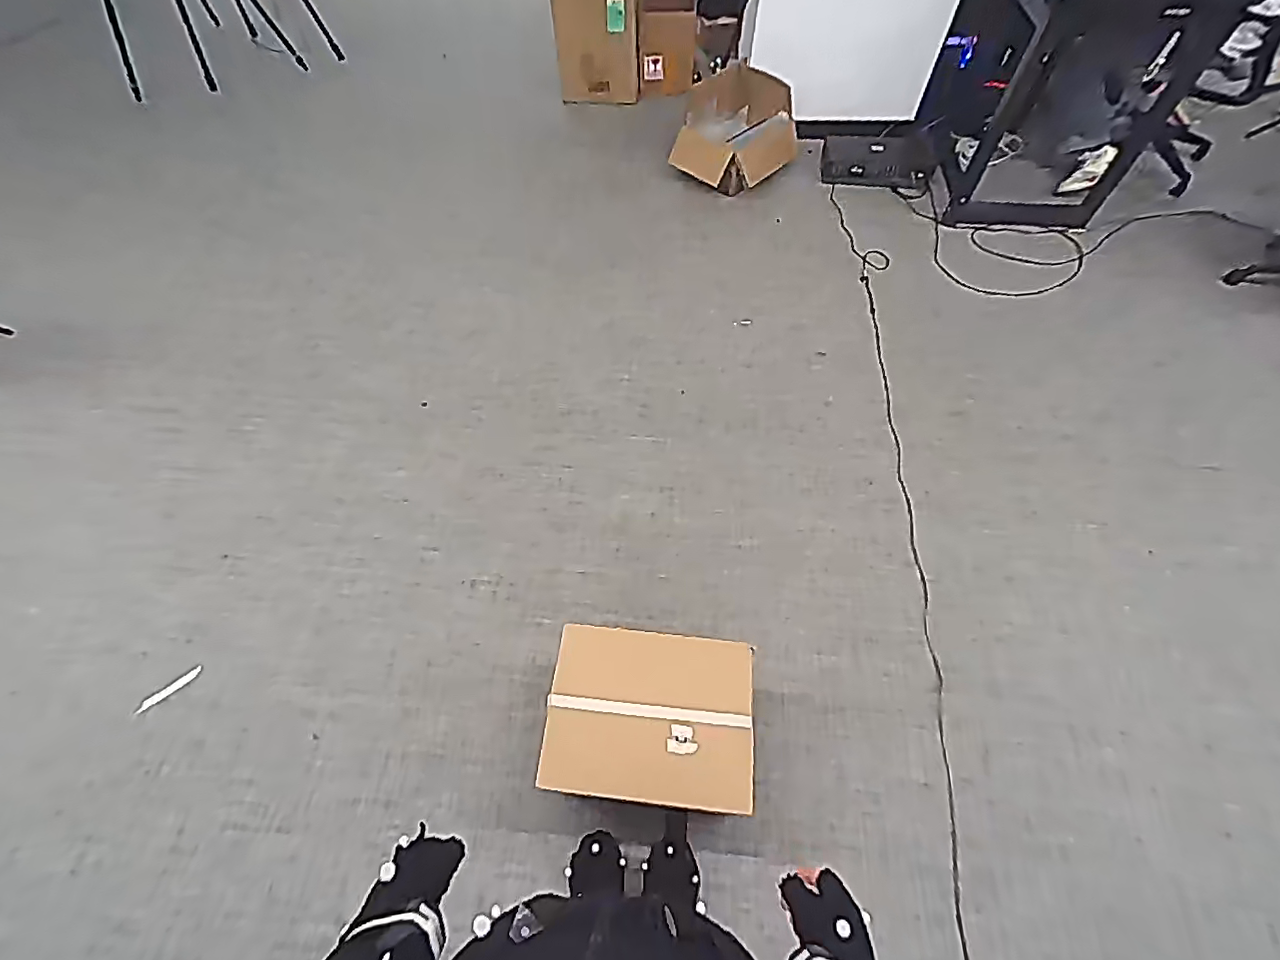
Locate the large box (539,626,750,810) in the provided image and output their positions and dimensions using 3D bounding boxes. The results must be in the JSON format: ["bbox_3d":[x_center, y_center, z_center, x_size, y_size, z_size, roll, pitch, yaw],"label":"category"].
[{"bbox_3d":[0.017,0.540,1.209,0.408,0.320,0.320,5,60,3],"label":"large box"}]
